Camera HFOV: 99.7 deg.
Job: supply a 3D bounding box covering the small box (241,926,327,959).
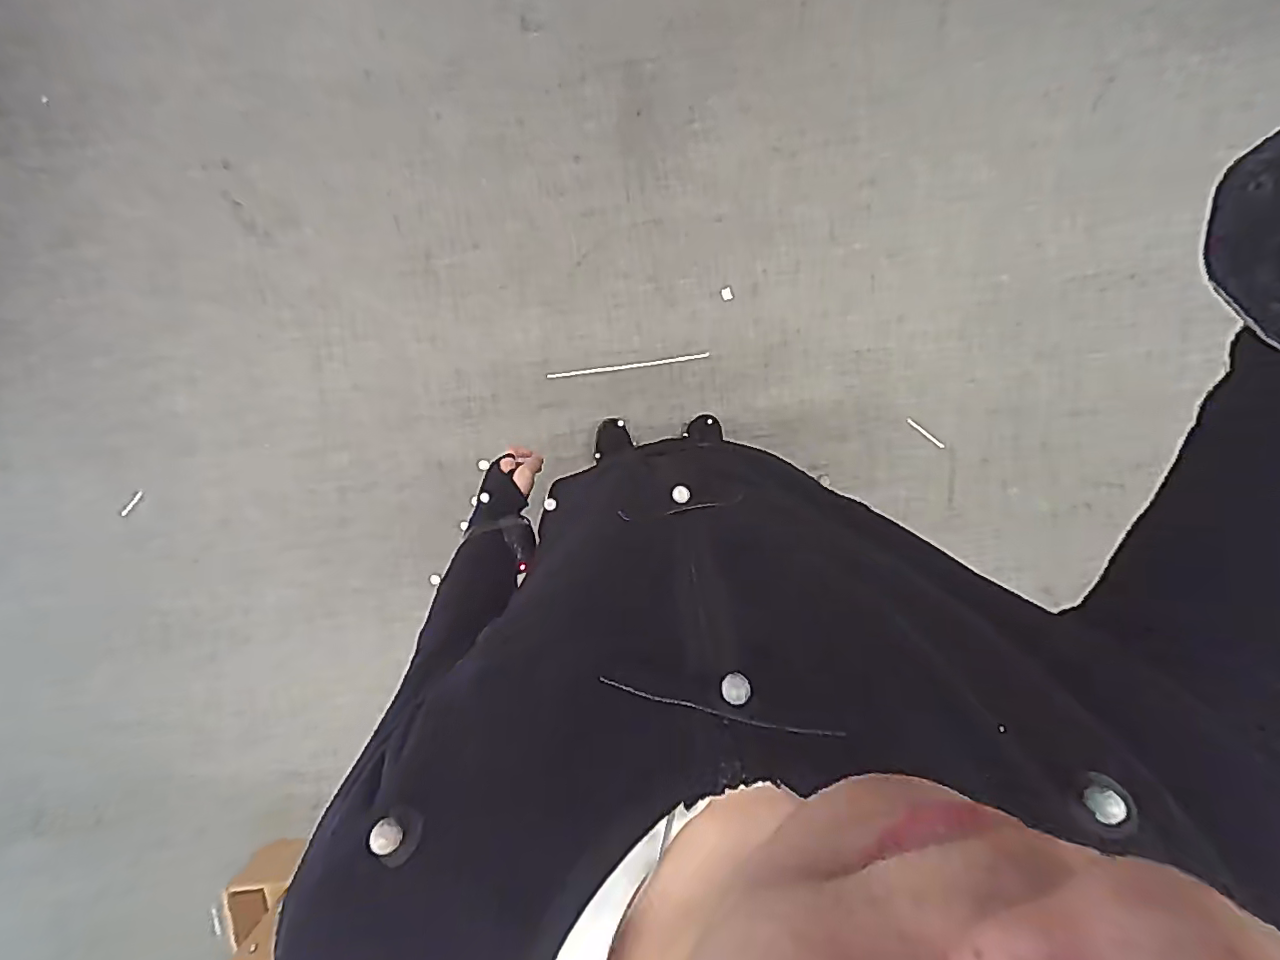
[{"bbox_3d":[-0.992,1.368,1.476,0.179,0.176,0.168,-5,97,-1],"label":"small box"}]
